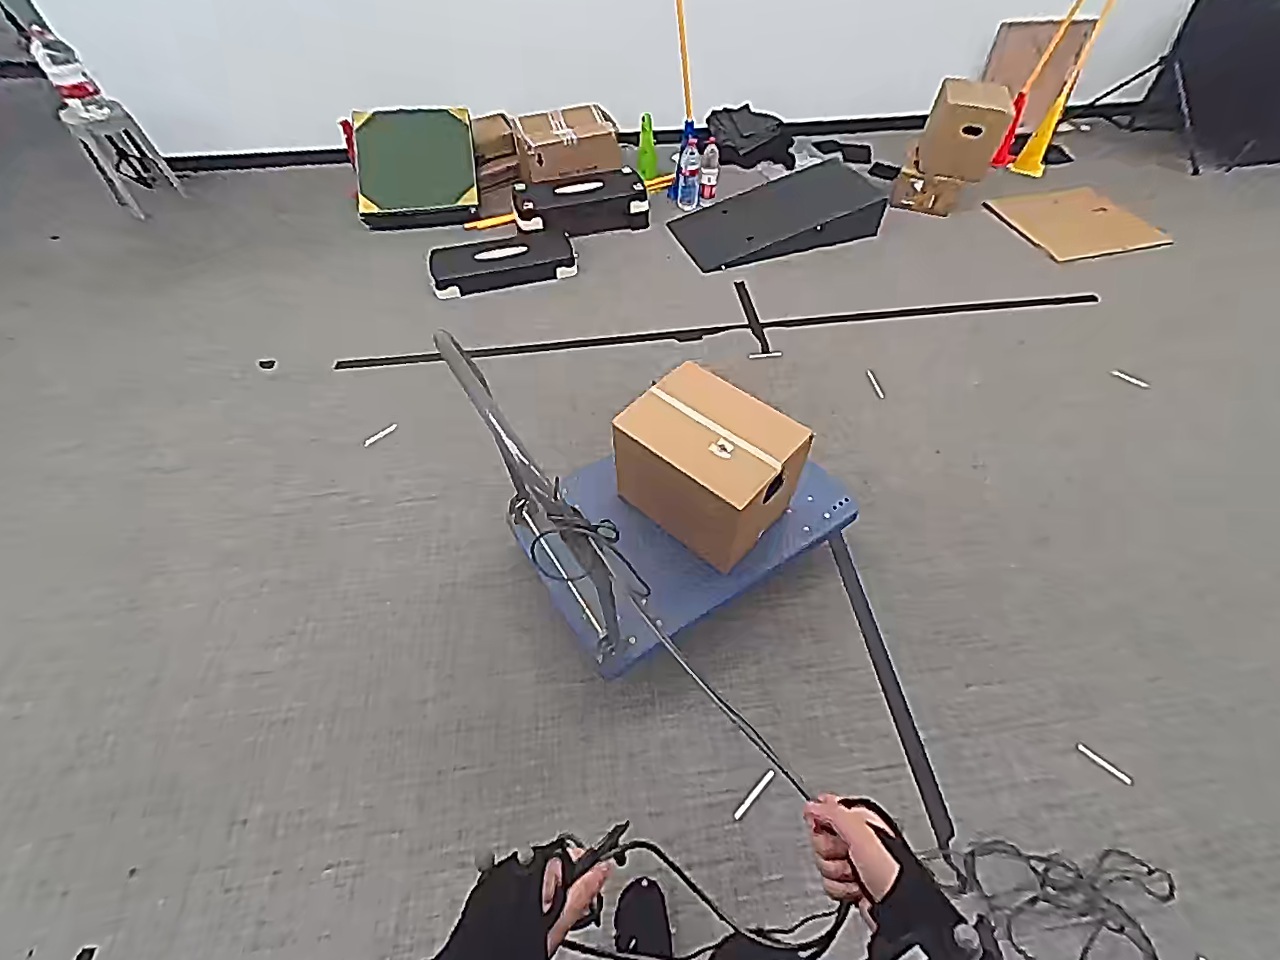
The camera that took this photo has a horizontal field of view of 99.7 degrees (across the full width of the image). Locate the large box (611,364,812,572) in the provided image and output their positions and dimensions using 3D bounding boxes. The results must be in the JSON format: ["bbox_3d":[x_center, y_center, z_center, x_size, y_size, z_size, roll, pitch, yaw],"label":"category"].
[{"bbox_3d":[0.172,-0.035,1.445,0.408,0.320,0.320,36,62,23],"label":"large box"}]
